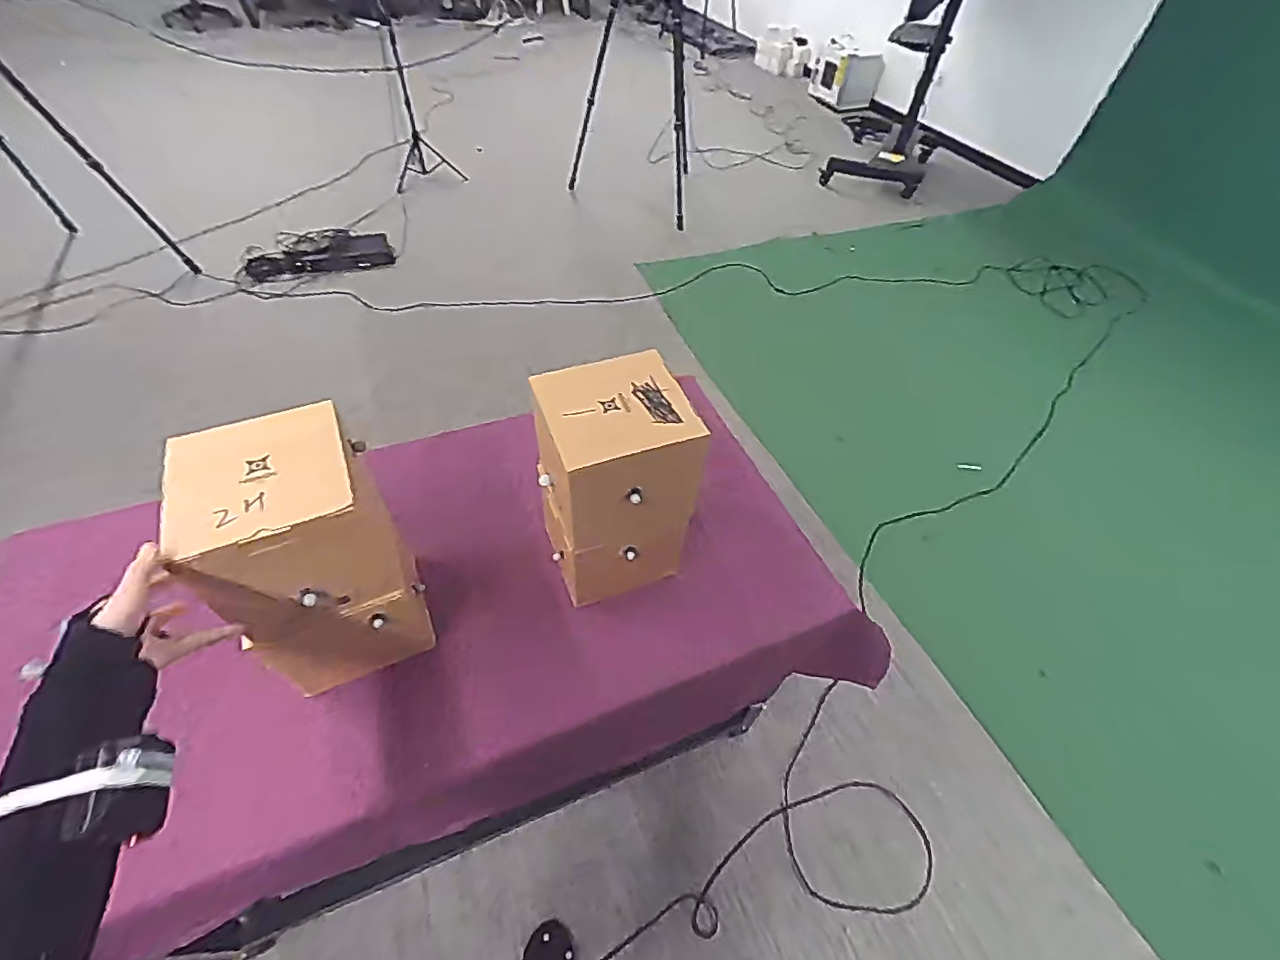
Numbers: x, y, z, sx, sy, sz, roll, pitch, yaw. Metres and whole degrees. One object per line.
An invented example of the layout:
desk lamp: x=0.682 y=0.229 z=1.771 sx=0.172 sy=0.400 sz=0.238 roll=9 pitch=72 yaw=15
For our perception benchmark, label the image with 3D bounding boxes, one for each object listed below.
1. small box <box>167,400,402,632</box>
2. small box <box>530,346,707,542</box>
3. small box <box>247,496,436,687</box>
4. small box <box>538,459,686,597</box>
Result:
small box: x=-0.395 y=0.042 z=0.622 sx=0.168 sy=0.176 sz=0.179 roll=-20 pitch=55 yaw=-18
small box: x=-0.033 y=-0.045 z=0.713 sx=0.179 sy=0.176 sz=0.168 roll=-17 pitch=55 yaw=-15
small box: x=-0.403 y=0.155 z=0.742 sx=0.179 sy=0.176 sz=0.168 roll=-20 pitch=55 yaw=-19
small box: x=-0.045 y=0.057 z=0.841 sx=0.179 sy=0.176 sz=0.168 roll=-16 pitch=54 yaw=-16
